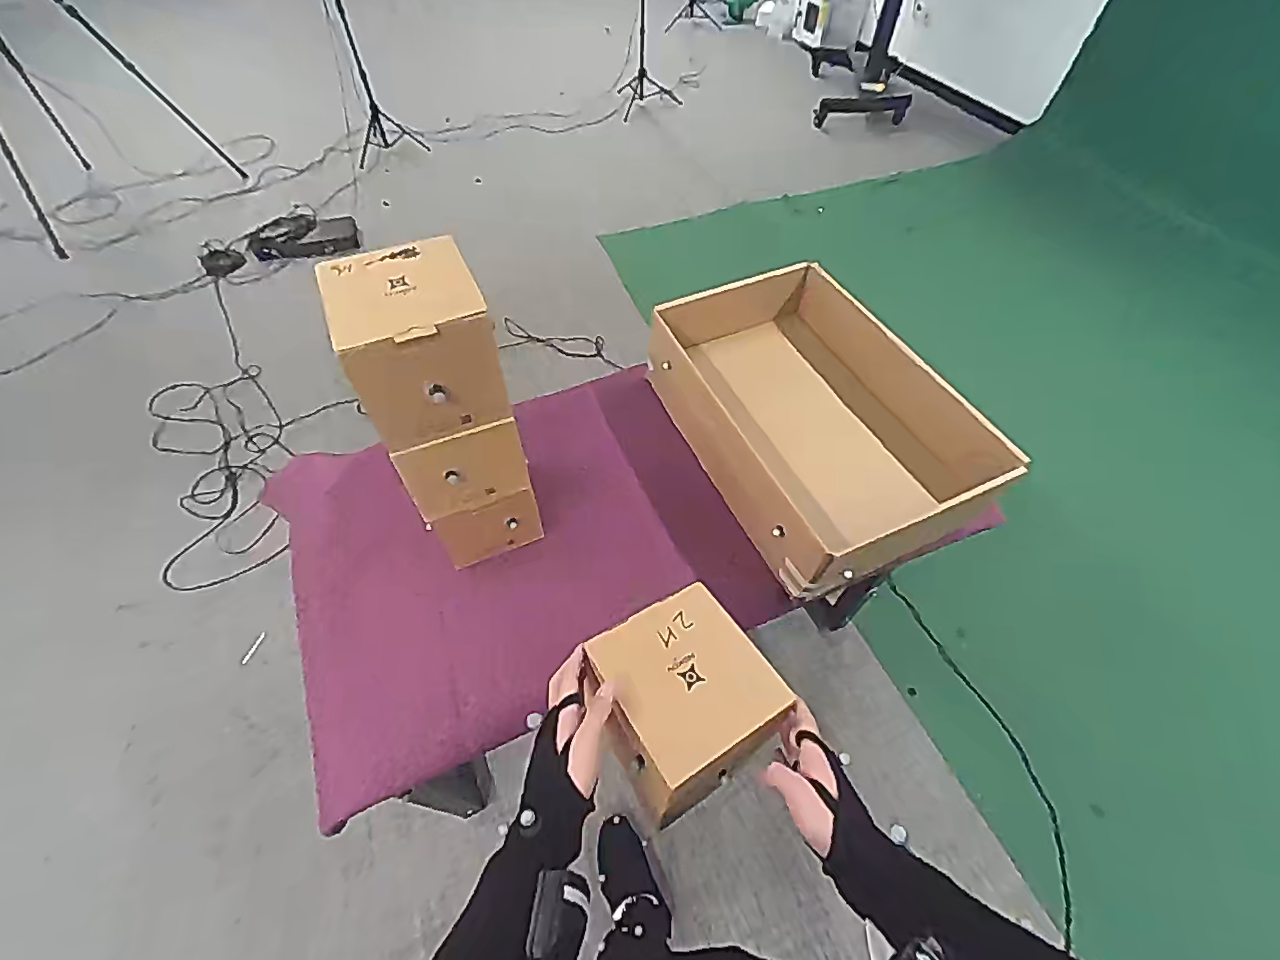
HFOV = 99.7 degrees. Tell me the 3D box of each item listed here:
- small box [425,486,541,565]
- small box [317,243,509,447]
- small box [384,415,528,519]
[{"bbox_3d":[-0.283,0.029,0.948,0.168,0.176,0.179,-19,57,-15],"label":"small box"},{"bbox_3d":[-0.278,-0.163,0.684,0.168,0.176,0.179,-20,57,-16],"label":"small box"},{"bbox_3d":[-0.279,-0.062,0.814,0.168,0.176,0.179,-20,56,-15],"label":"small box"}]
